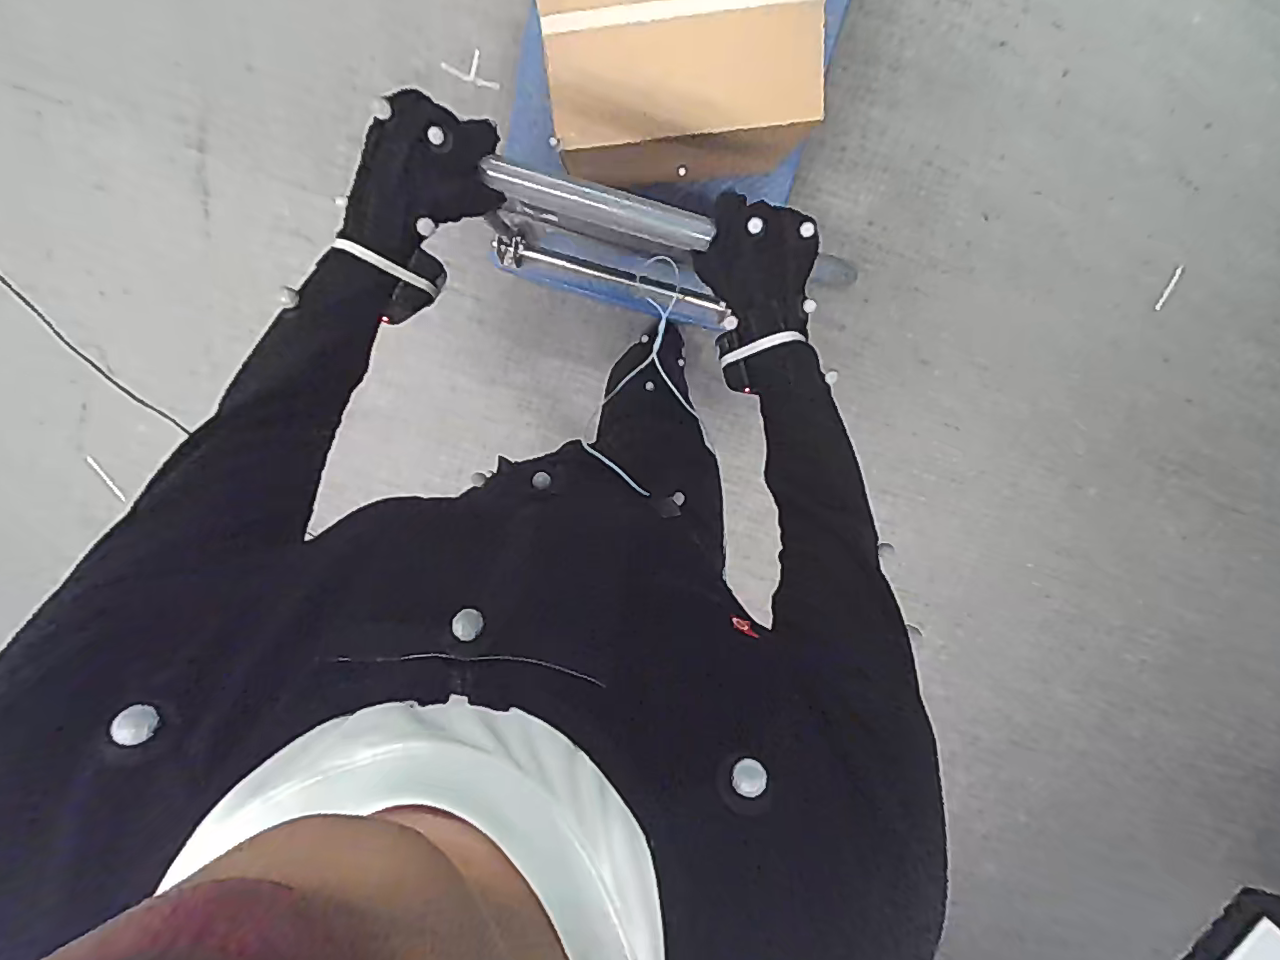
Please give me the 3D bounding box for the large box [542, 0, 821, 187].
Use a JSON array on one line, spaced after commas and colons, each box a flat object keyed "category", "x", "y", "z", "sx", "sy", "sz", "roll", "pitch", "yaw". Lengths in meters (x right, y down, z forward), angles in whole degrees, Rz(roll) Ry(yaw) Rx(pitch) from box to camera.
[{"category": "large box", "x": 0.063, "y": -0.719, "z": 0.921, "sx": 0.408, "sy": 0.320, "sz": 0.320, "roll": -6, "pitch": 107, "yaw": 2}]
